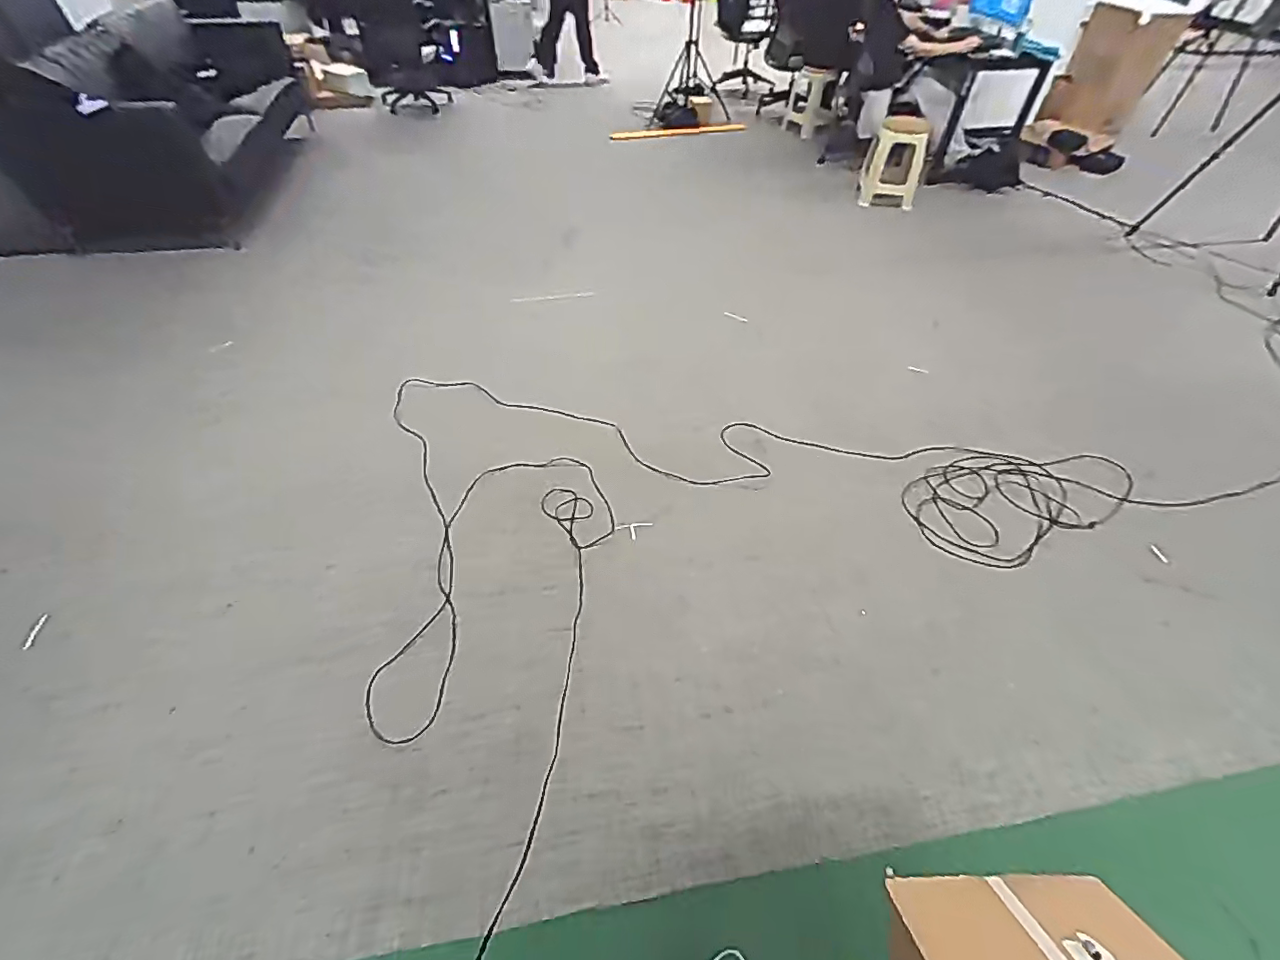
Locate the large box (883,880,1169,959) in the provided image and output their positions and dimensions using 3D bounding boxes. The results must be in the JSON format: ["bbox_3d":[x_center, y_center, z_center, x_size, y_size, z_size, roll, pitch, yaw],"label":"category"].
[{"bbox_3d":[0.523,0.763,0.619,0.320,0.408,0.320,-2,91,2],"label":"large box"}]
